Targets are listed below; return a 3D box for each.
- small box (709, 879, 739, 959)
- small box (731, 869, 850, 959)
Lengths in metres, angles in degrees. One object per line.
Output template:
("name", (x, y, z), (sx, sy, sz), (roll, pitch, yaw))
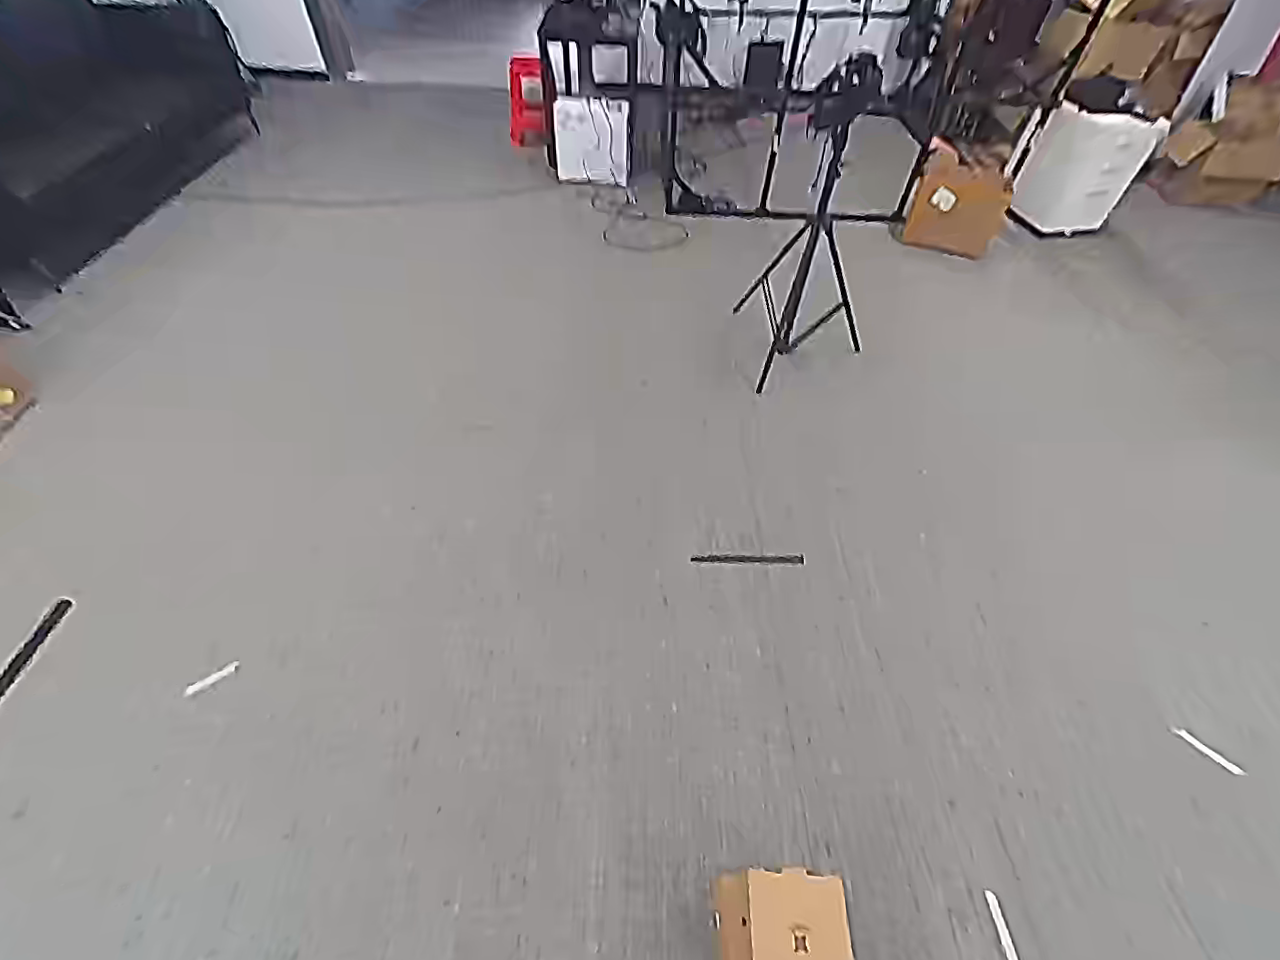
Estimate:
("small box", (0.242, 0.902, 1.077), (0.179, 0.176, 0.168), (-1, 48, -2))
("small box", (0.255, 0.805, 0.945), (0.168, 0.176, 0.179), (4, 48, 1))
